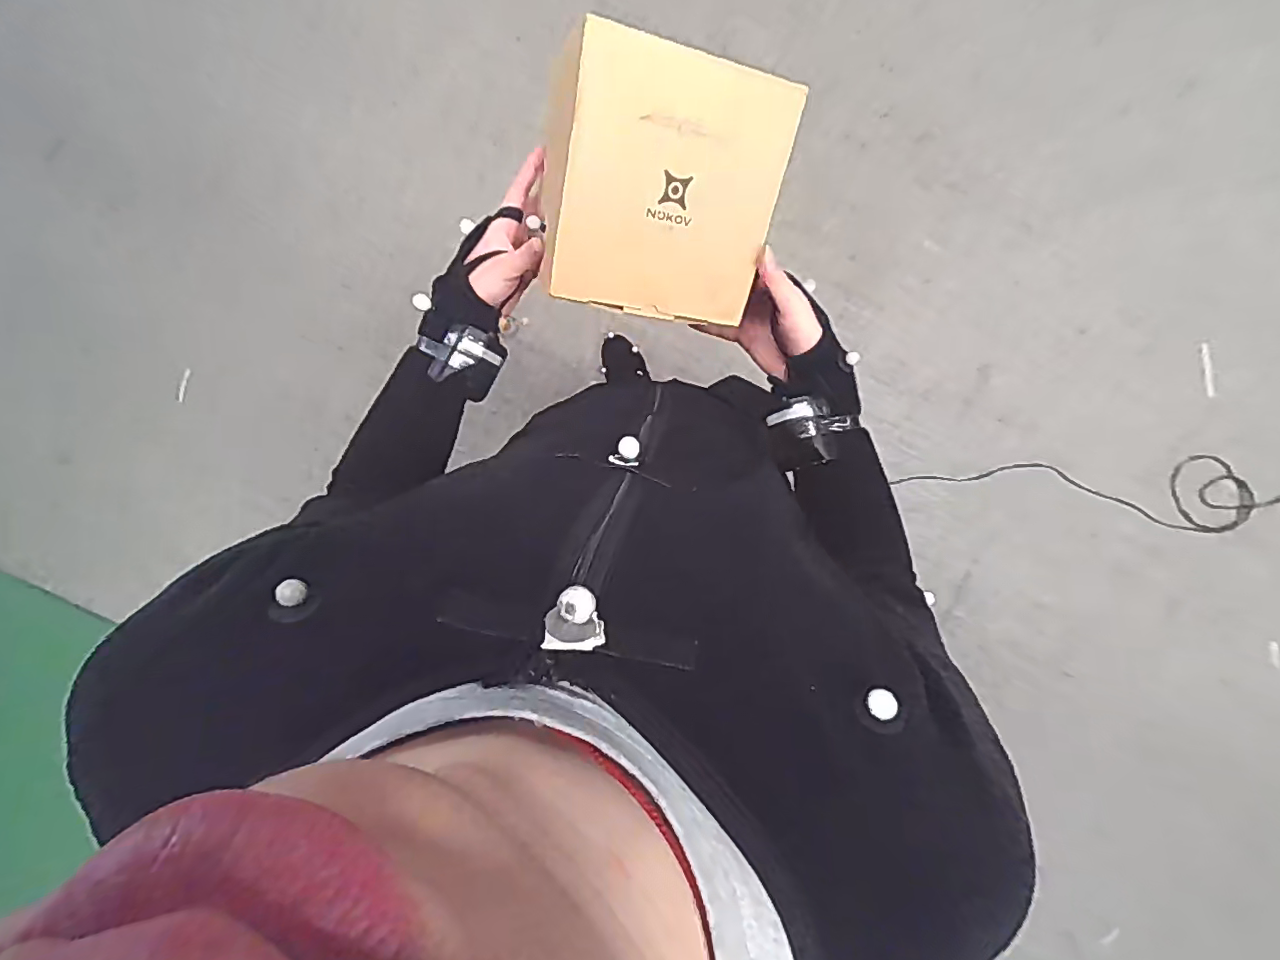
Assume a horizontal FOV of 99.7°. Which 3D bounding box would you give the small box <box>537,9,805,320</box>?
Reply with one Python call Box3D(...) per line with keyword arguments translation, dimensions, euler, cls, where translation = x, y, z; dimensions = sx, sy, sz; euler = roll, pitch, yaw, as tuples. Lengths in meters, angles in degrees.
Box3D(translation=(0.007, -0.257, 0.470), dimensions=(0.168, 0.176, 0.179), euler=(2, 119, -20), cls="small box")
